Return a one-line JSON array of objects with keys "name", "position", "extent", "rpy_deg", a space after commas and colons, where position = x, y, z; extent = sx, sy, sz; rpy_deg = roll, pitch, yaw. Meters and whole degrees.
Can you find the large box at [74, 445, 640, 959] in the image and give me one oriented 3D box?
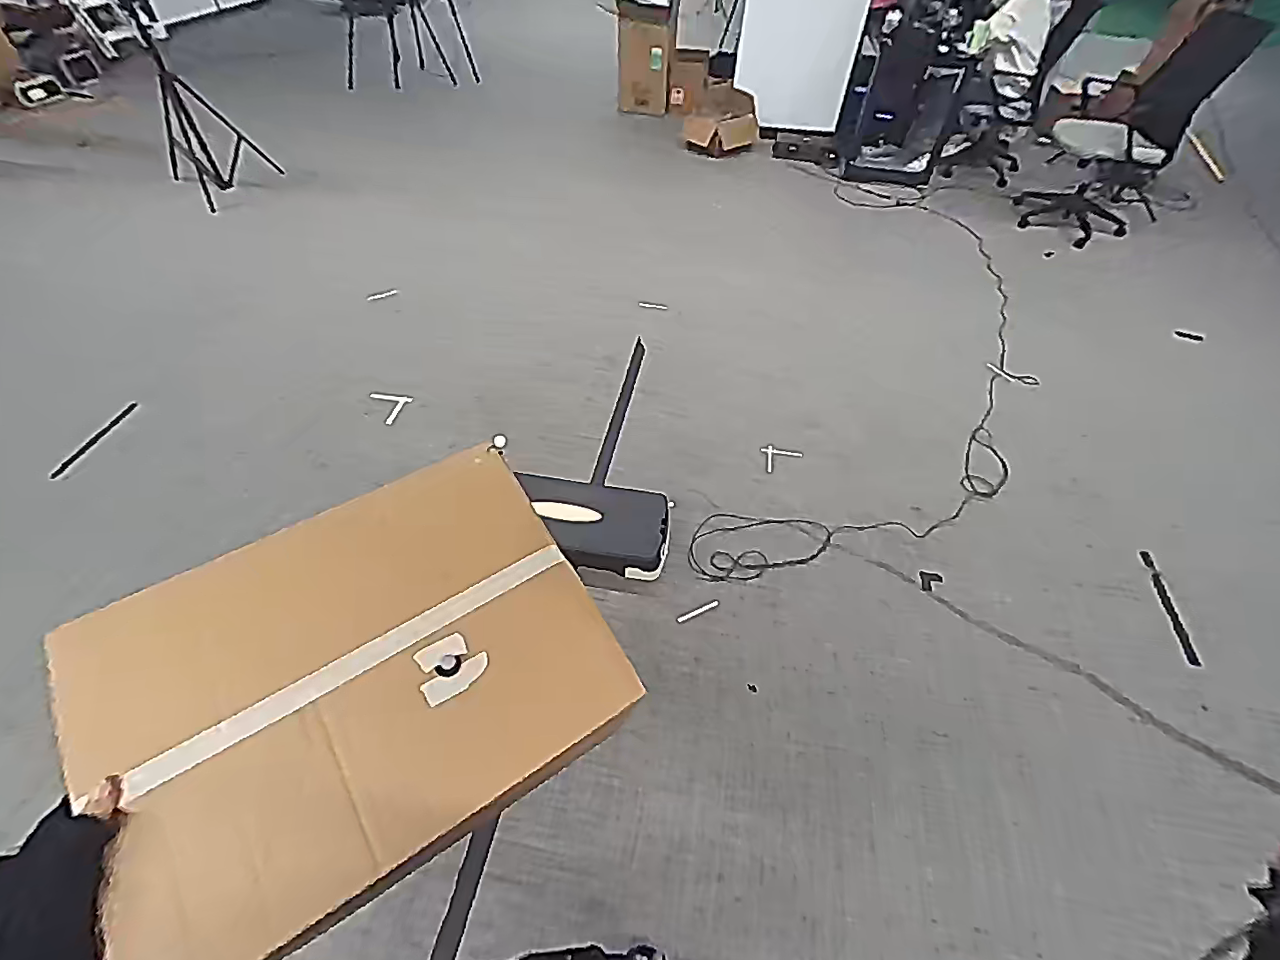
[{"name": "large box", "position": [-0.261, 0.233, 0.607], "extent": [0.408, 0.320, 0.320], "rpy_deg": [-27, 68, -22]}]
